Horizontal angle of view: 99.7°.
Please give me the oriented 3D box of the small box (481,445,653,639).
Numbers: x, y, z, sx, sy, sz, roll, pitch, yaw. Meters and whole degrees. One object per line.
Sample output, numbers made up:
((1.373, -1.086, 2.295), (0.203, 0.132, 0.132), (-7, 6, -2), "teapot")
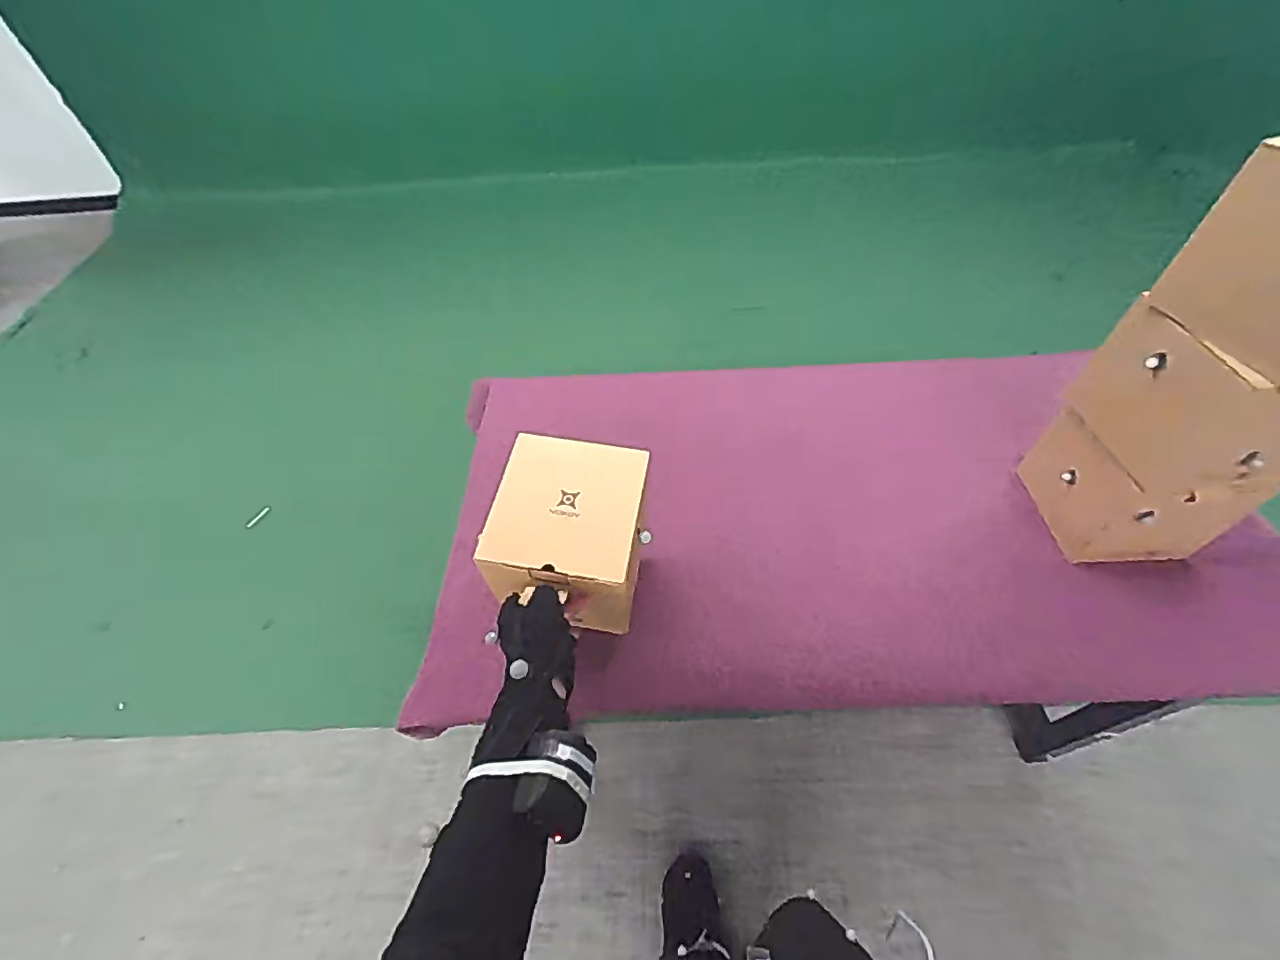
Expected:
((-0.079, 0.082, 0.685), (0.168, 0.176, 0.179), (8, 58, 5), "small box")

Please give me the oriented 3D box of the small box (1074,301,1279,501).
((0.676, -0.097, 0.640), (0.168, 0.176, 0.179), (-6, 51, 1), "small box")

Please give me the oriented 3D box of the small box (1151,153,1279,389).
((0.672, -0.200, 0.513), (0.168, 0.176, 0.179), (-14, 51, -7), "small box")
